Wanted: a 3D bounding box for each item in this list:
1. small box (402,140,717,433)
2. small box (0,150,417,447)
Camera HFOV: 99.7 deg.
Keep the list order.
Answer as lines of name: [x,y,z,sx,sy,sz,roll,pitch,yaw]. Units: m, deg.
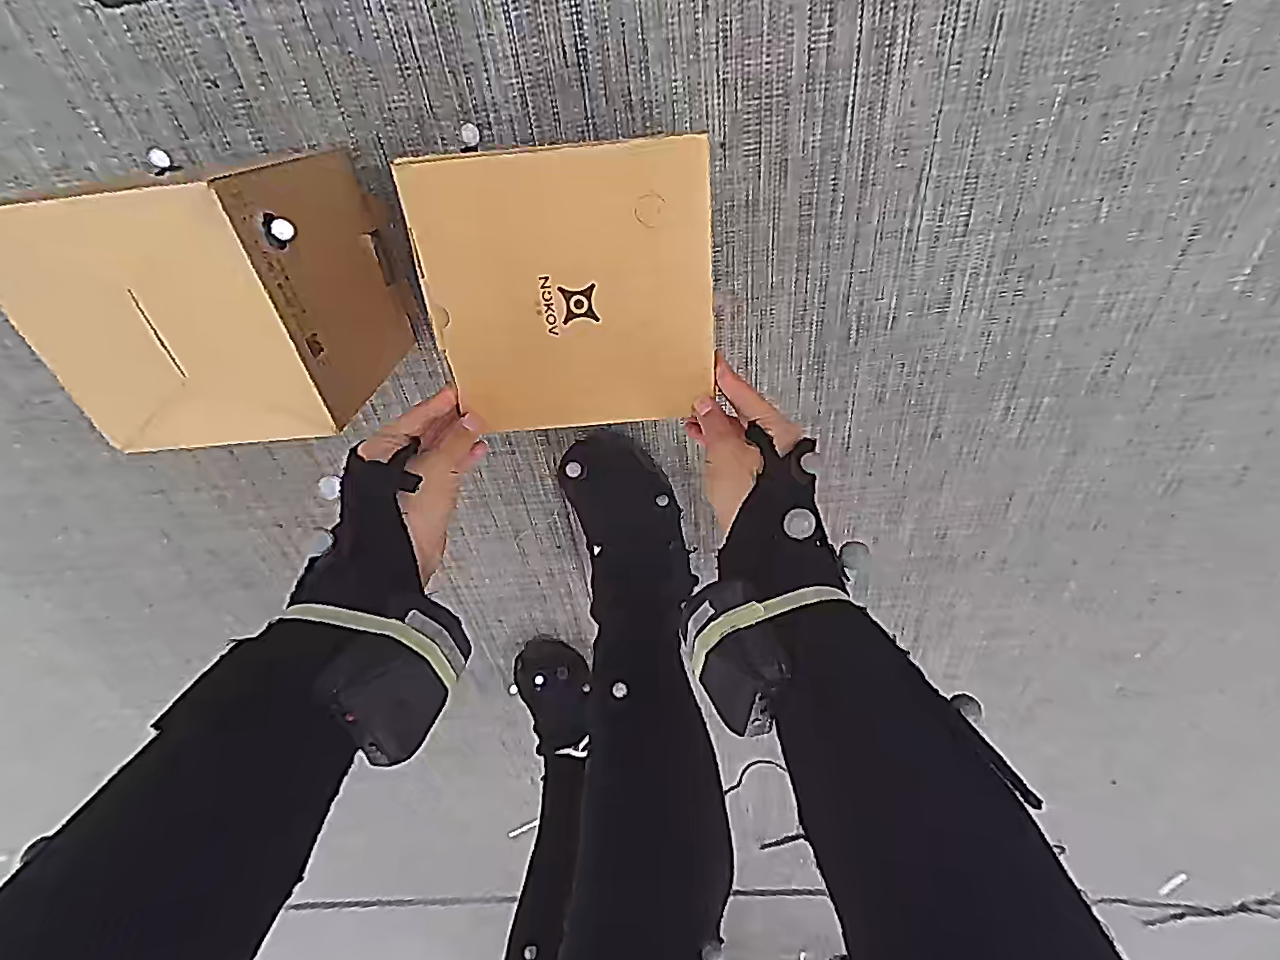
small box: [-0.041,-0.150,0.403,0.179,0.176,0.168,-4,122,3]
small box: [-0.307,-0.139,0.414,0.179,0.176,0.168,-5,126,3]
